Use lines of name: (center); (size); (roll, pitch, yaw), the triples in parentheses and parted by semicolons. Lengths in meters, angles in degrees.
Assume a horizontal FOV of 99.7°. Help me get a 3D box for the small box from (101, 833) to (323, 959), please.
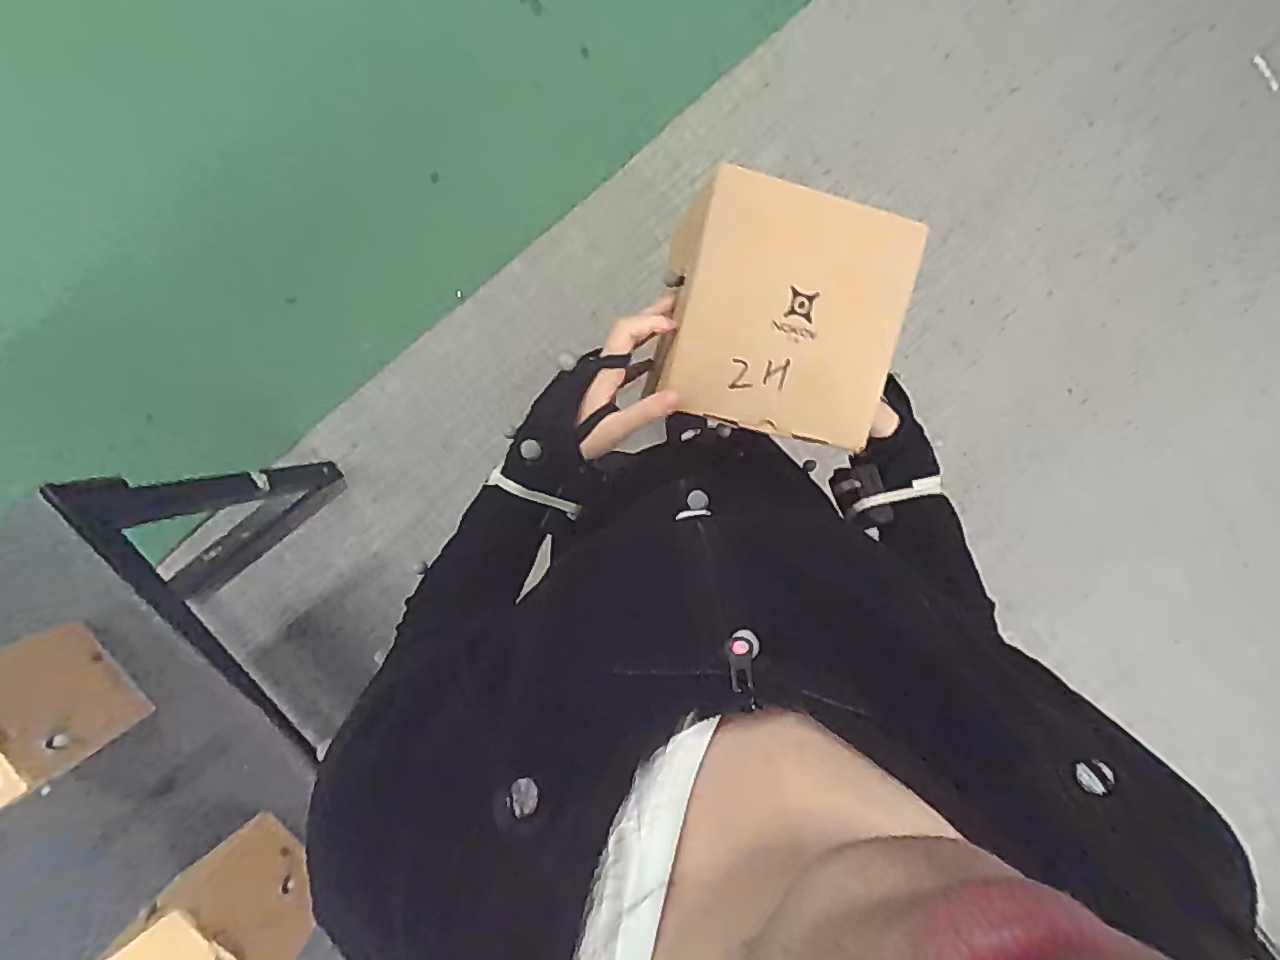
small box: (-0.563, 0.616, 0.697); (0.179, 0.176, 0.168); (-37, 95, 1)

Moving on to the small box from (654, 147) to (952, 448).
small box: (0.118, -0.138, 0.467); (0.168, 0.176, 0.179); (13, 98, -10)
